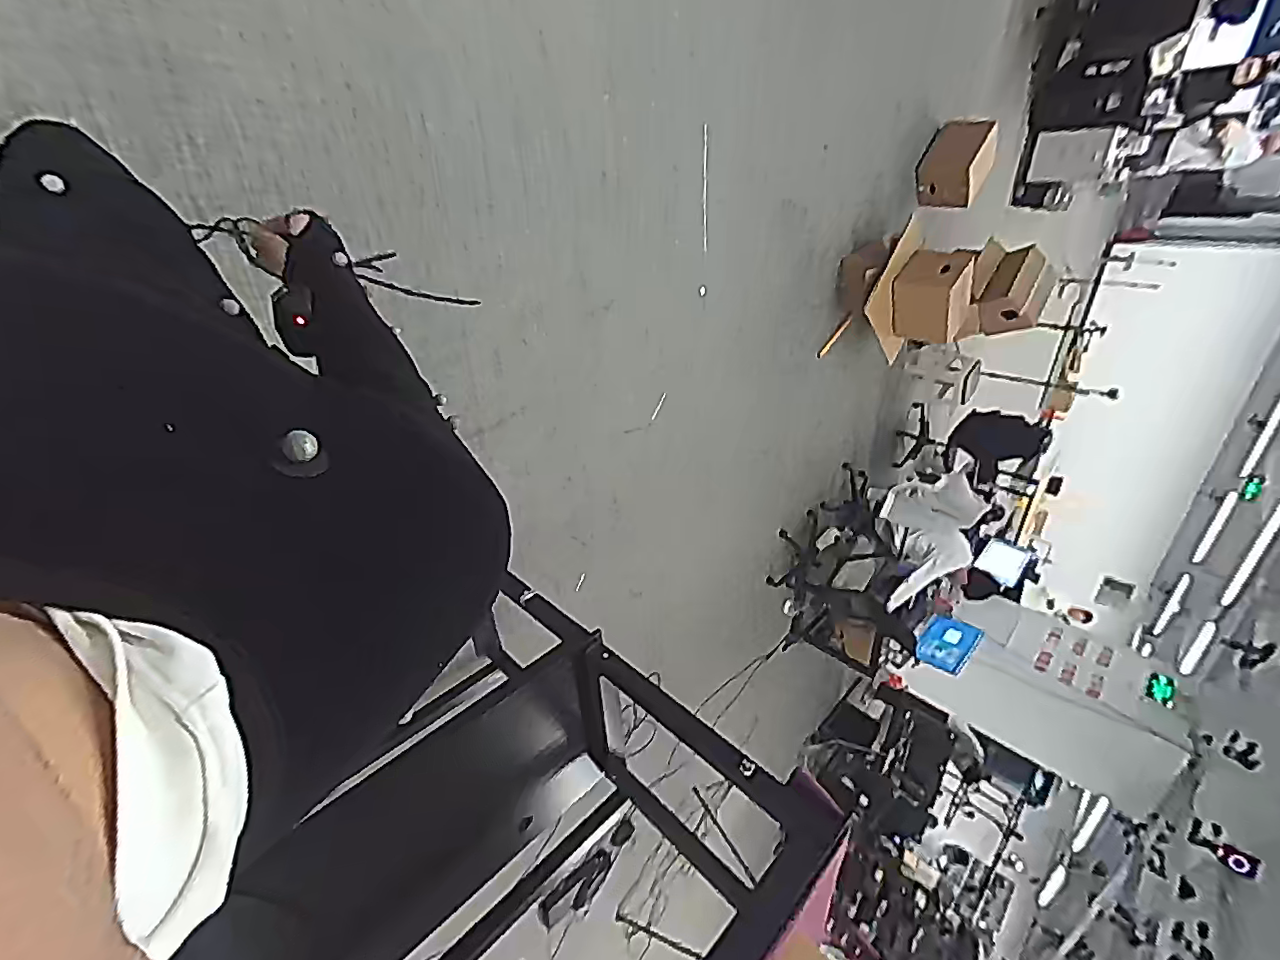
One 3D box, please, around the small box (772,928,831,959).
[{"bbox_3d":[0.278,0.931,0.913,0.179,0.176,0.168,-28,128,-37],"label":"small box"}]
